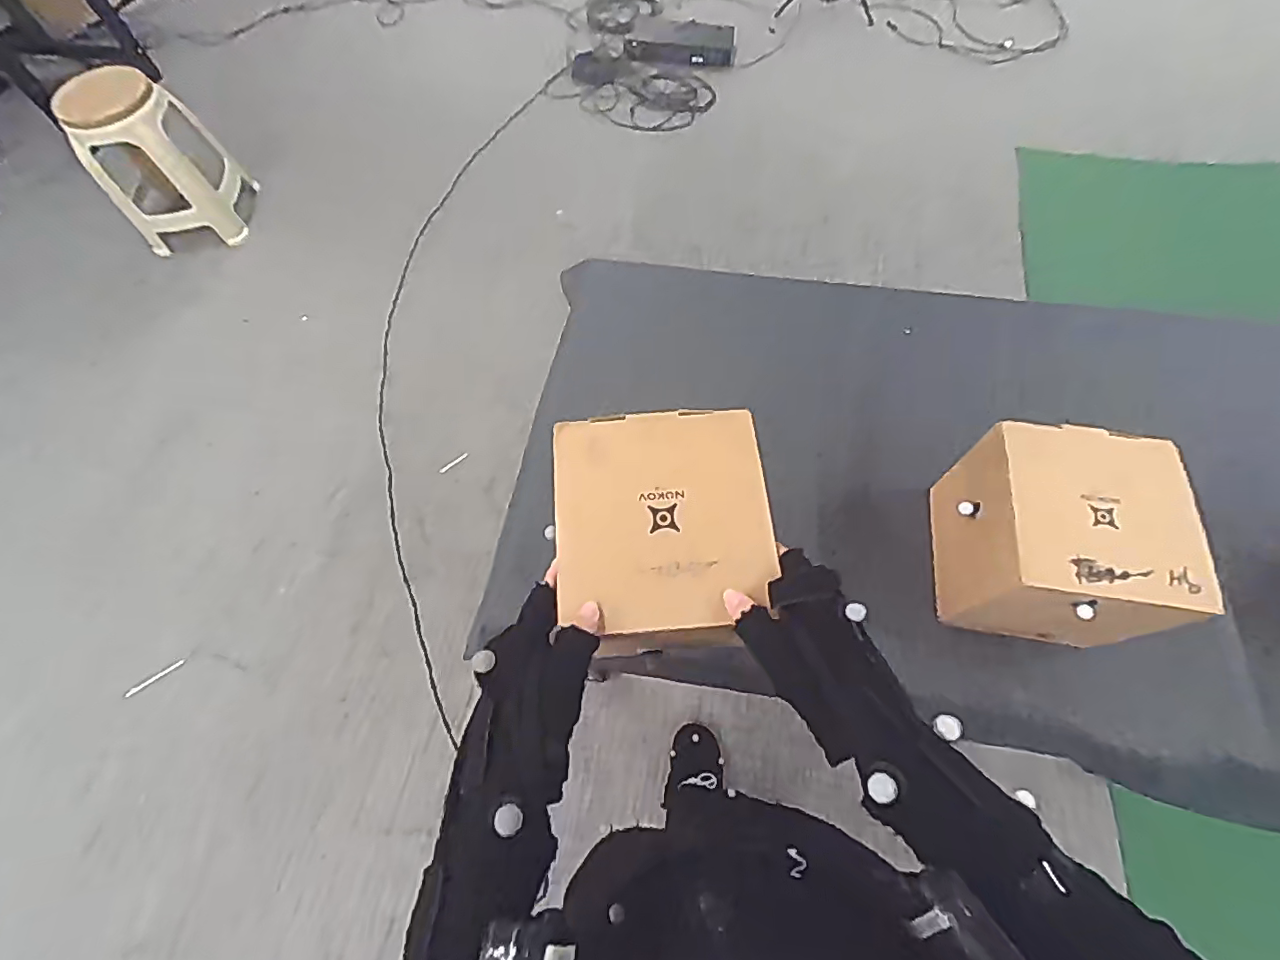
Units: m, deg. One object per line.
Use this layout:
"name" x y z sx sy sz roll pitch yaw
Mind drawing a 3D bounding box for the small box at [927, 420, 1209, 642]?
"small box" 0.430 0.060 0.584 0.168 0.176 0.179 8 64 7

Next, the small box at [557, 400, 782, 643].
"small box" 0.016 0.047 0.497 0.168 0.176 0.179 -5 69 -2
